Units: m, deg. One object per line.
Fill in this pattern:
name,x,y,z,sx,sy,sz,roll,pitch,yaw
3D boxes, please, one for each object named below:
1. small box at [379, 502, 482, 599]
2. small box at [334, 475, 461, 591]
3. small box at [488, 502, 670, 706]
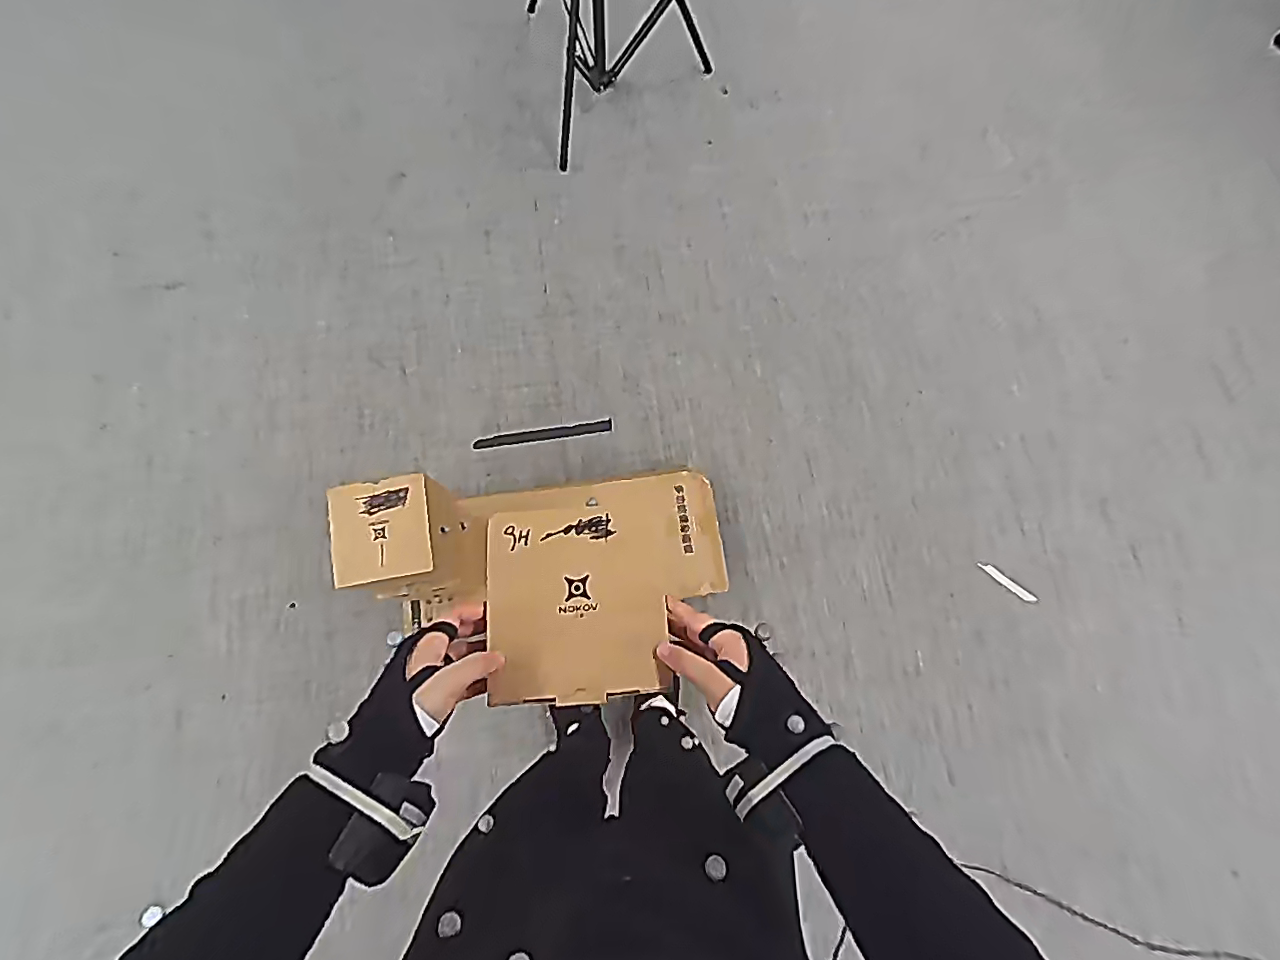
small box,-0.445,0.156,1.161,0.168,0.176,0.179,-8,77,-4
small box,-0.442,0.104,1.005,0.168,0.176,0.179,-10,78,-5
small box,-0.060,0.133,0.577,0.168,0.176,0.179,-5,72,-3
